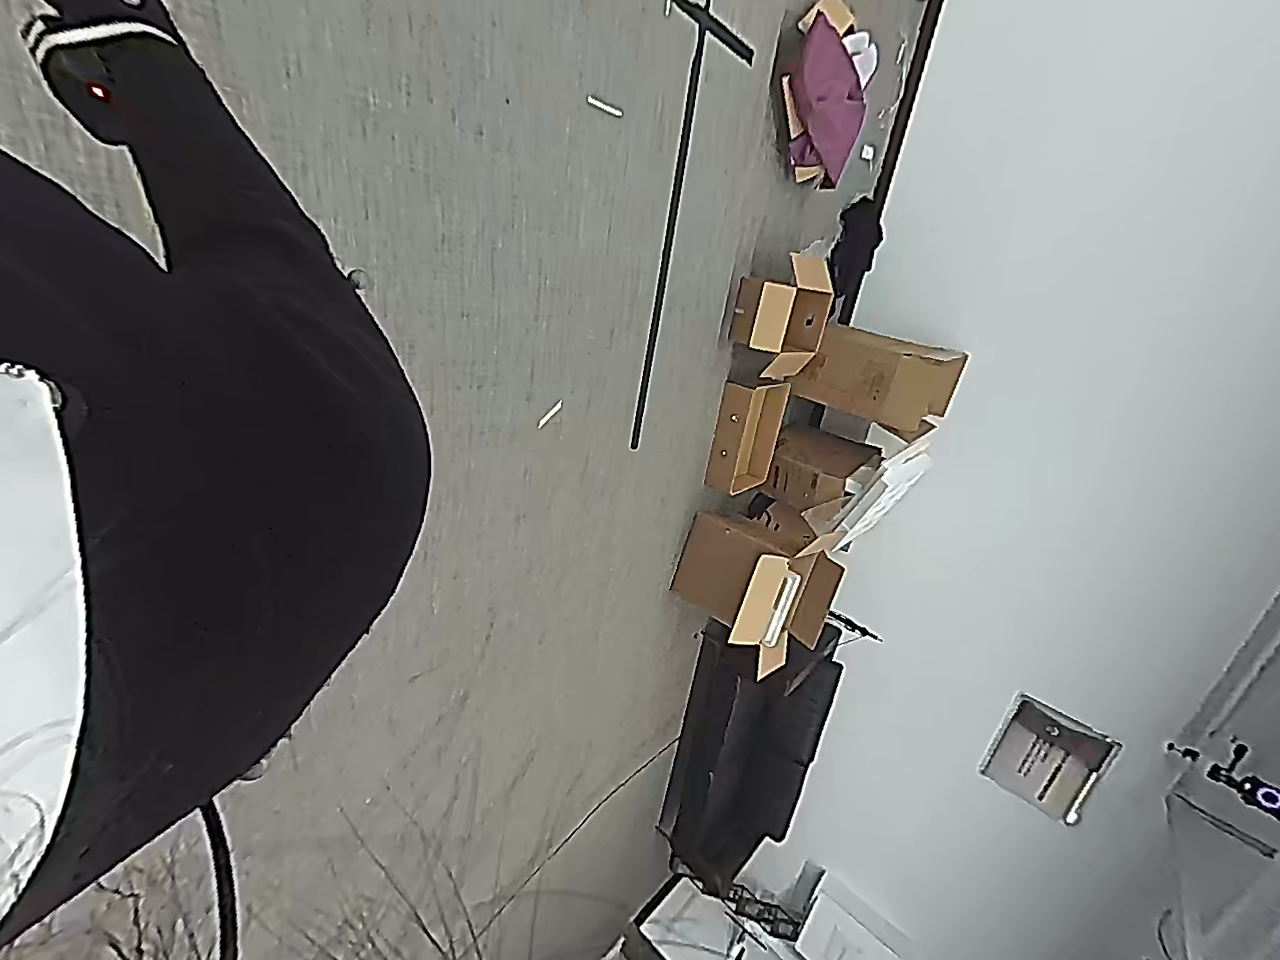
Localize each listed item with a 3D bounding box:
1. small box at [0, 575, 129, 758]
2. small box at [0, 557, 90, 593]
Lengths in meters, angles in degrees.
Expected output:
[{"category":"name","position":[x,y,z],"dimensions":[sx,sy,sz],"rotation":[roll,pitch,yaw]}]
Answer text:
[{"category":"small box","position":[-0.922,0.277,0.826],"dimensions":[0.168,0.176,0.179],"rotation":[-19,125,-45]},{"category":"small box","position":[-1.044,0.214,0.916],"dimensions":[0.168,0.176,0.179],"rotation":[-18,125,-46]}]
